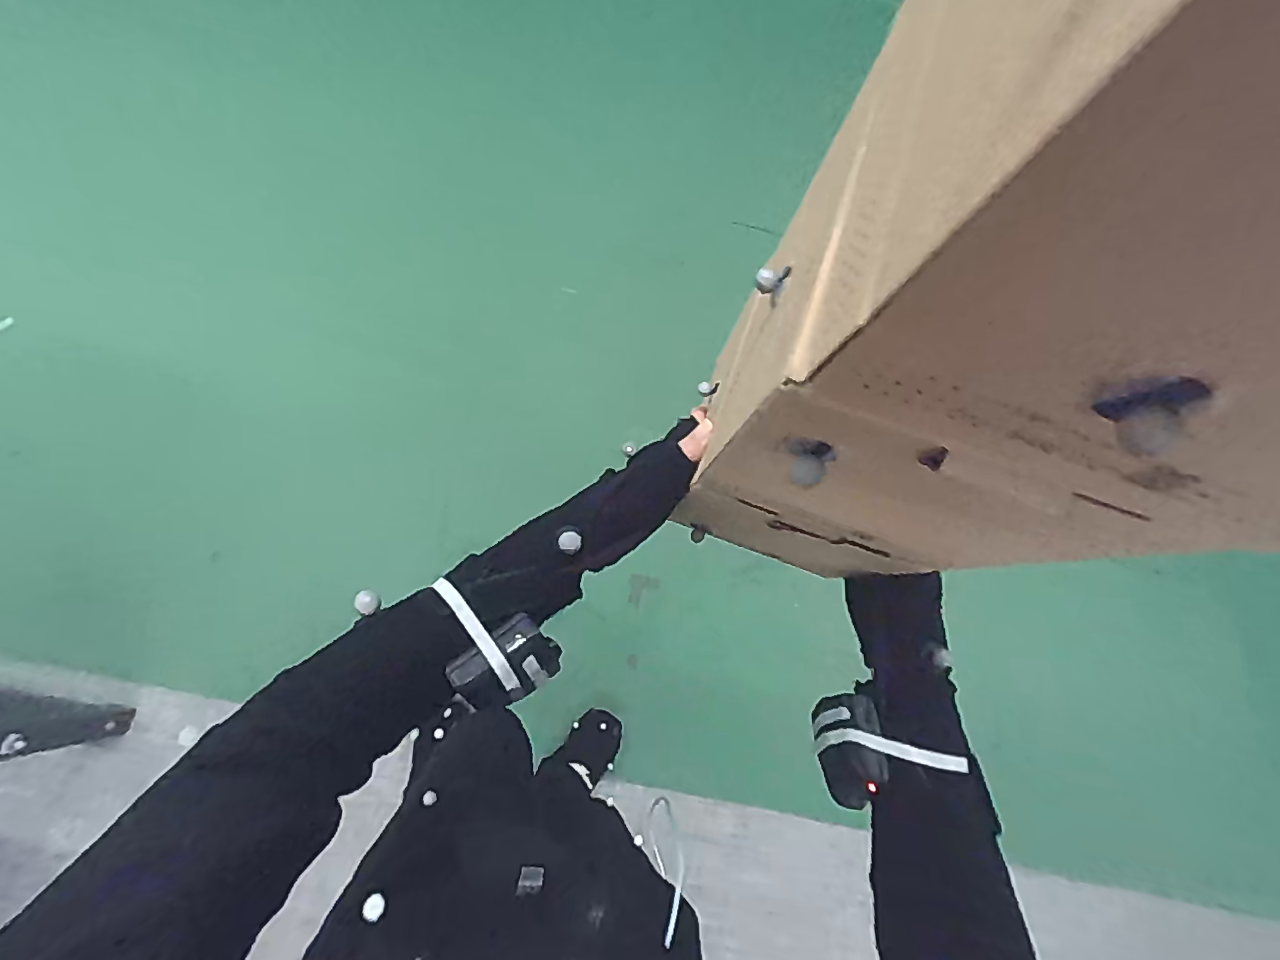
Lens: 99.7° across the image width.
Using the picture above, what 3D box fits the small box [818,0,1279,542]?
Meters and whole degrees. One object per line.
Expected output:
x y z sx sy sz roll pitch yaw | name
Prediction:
0.164 -0.097 0.128 0.168 0.176 0.179 18 77 -1 | small box

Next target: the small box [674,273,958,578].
0.134 -0.026 0.447 0.168 0.176 0.179 21 77 0 | small box
